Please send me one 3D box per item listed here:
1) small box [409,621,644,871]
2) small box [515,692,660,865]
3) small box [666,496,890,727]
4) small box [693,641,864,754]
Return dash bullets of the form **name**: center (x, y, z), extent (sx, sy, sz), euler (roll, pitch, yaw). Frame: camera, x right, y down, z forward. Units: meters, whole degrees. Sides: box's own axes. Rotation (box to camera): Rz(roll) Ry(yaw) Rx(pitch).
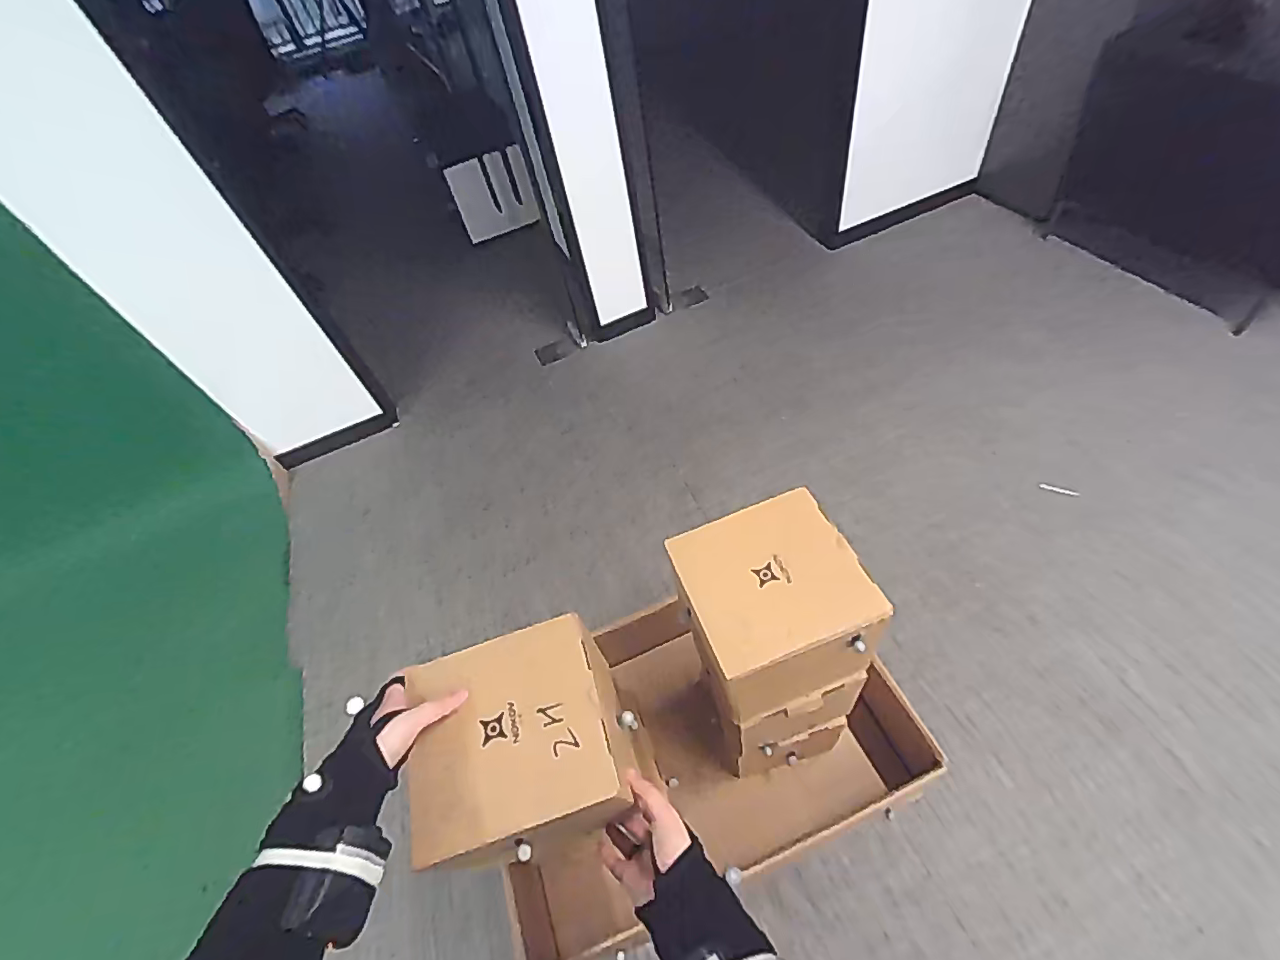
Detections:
- **small box**: center (-0.108, 0.271, 0.542), extent (0.179, 0.176, 0.168), euler (-18, 54, -4)
- **small box**: center (-0.084, 0.369, 0.700), extent (0.168, 0.176, 0.179), euler (-21, 50, -7)
- **small box**: center (0.146, 0.154, 0.615), extent (0.179, 0.176, 0.168), euler (-20, 51, -6)
- **small box**: center (0.176, 0.253, 0.741), extent (0.168, 0.176, 0.179), euler (-20, 51, -5)
